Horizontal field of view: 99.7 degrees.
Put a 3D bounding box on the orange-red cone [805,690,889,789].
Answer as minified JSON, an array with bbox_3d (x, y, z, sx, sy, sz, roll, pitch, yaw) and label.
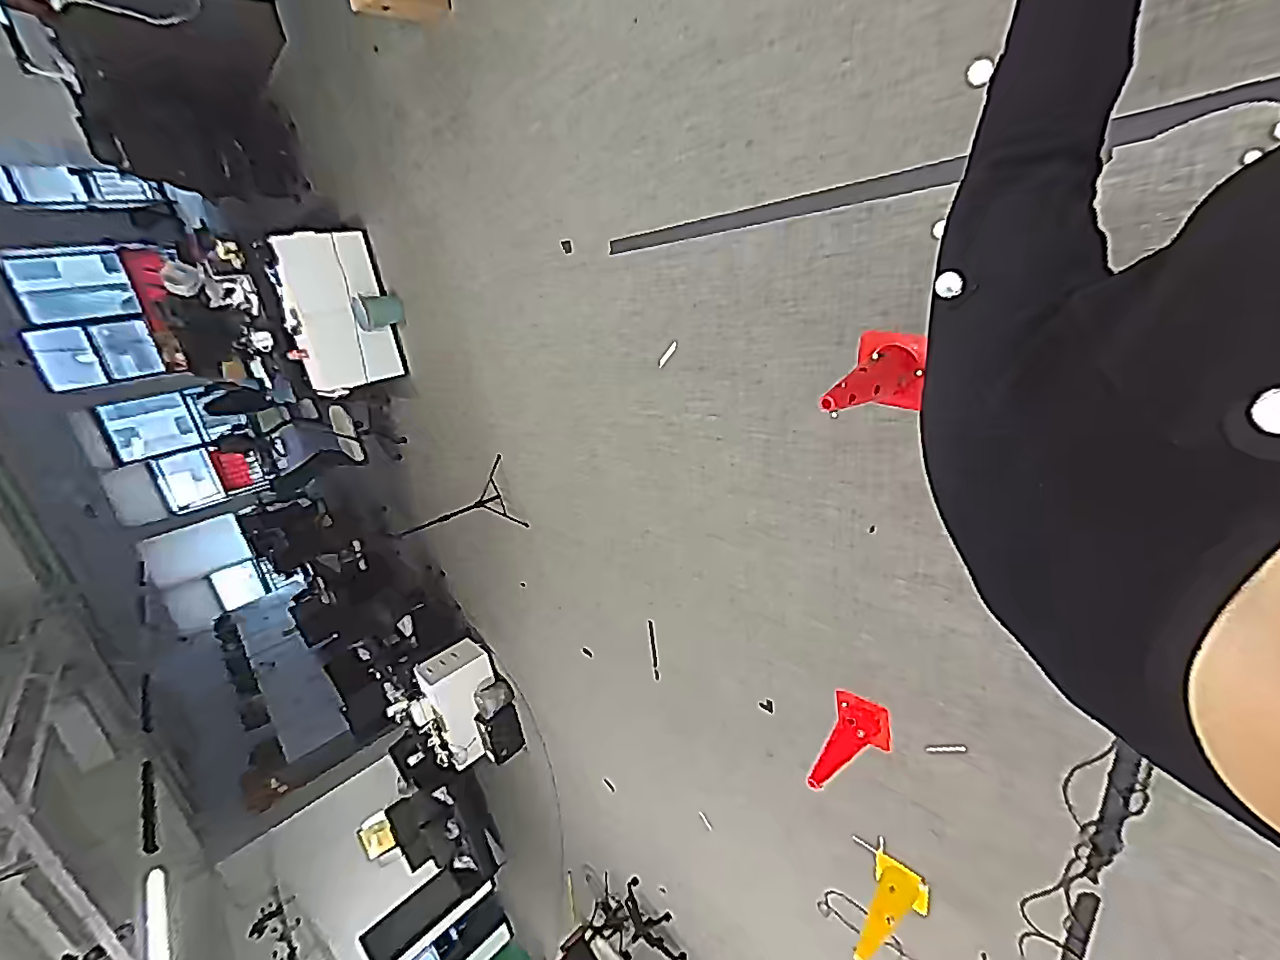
[{"bbox_3d":[0.690,0.943,1.884,0.198,0.360,0.199,12,120,48],"label":"orange-red cone"}]

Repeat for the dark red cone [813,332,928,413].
[{"bbox_3d":[0.547,-0.237,1.356,0.201,0.394,0.202,21,125,41],"label":"dark red cone"}]
